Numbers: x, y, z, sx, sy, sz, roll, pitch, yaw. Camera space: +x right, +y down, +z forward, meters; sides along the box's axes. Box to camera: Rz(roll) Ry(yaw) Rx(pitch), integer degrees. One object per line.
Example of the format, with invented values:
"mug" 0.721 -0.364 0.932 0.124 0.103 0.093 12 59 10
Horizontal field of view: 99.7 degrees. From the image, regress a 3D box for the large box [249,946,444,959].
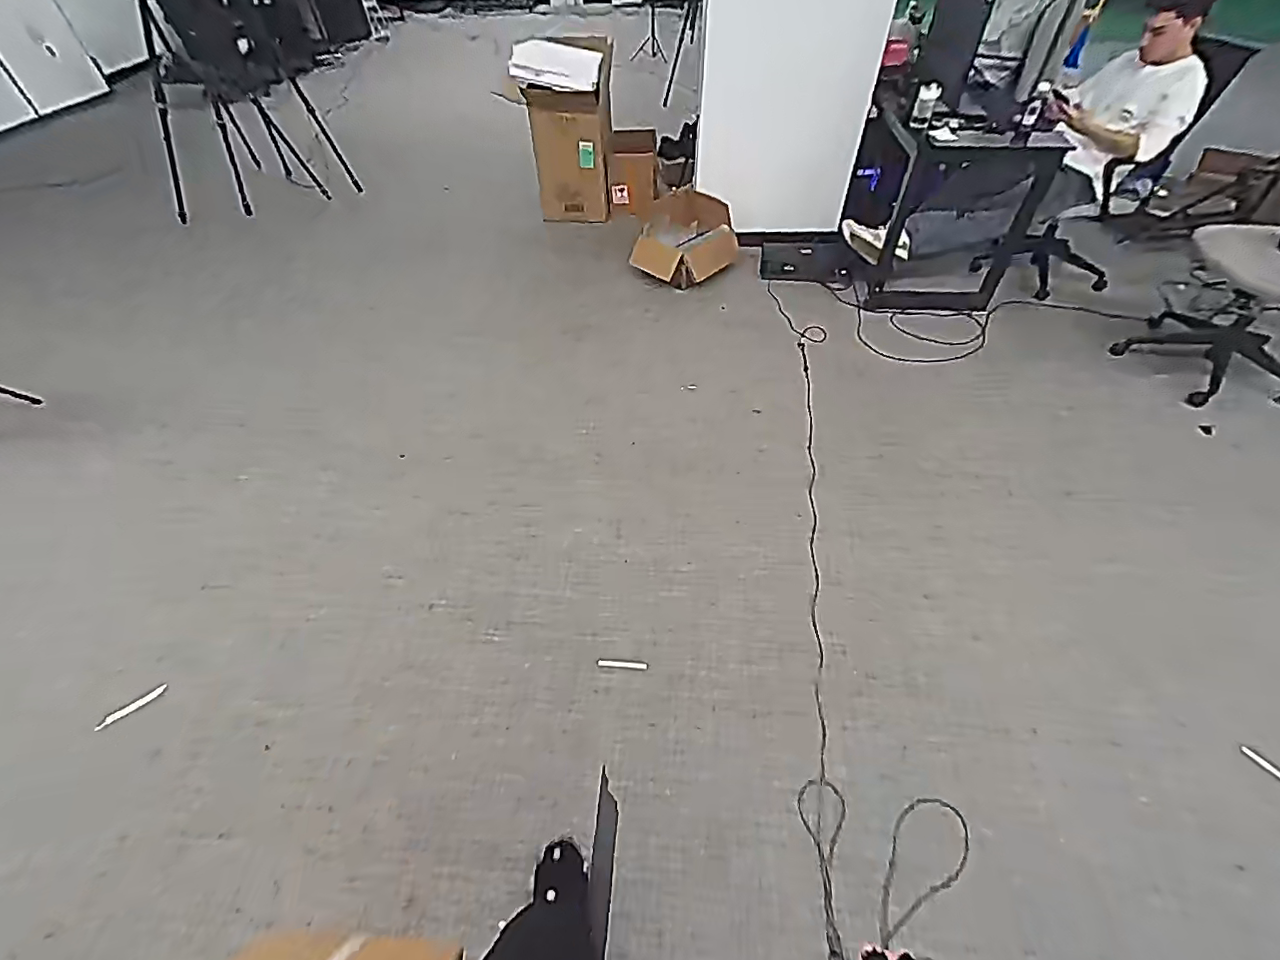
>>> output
"large box" -0.440 0.808 0.588 0.320 0.408 0.320 -1 74 4
